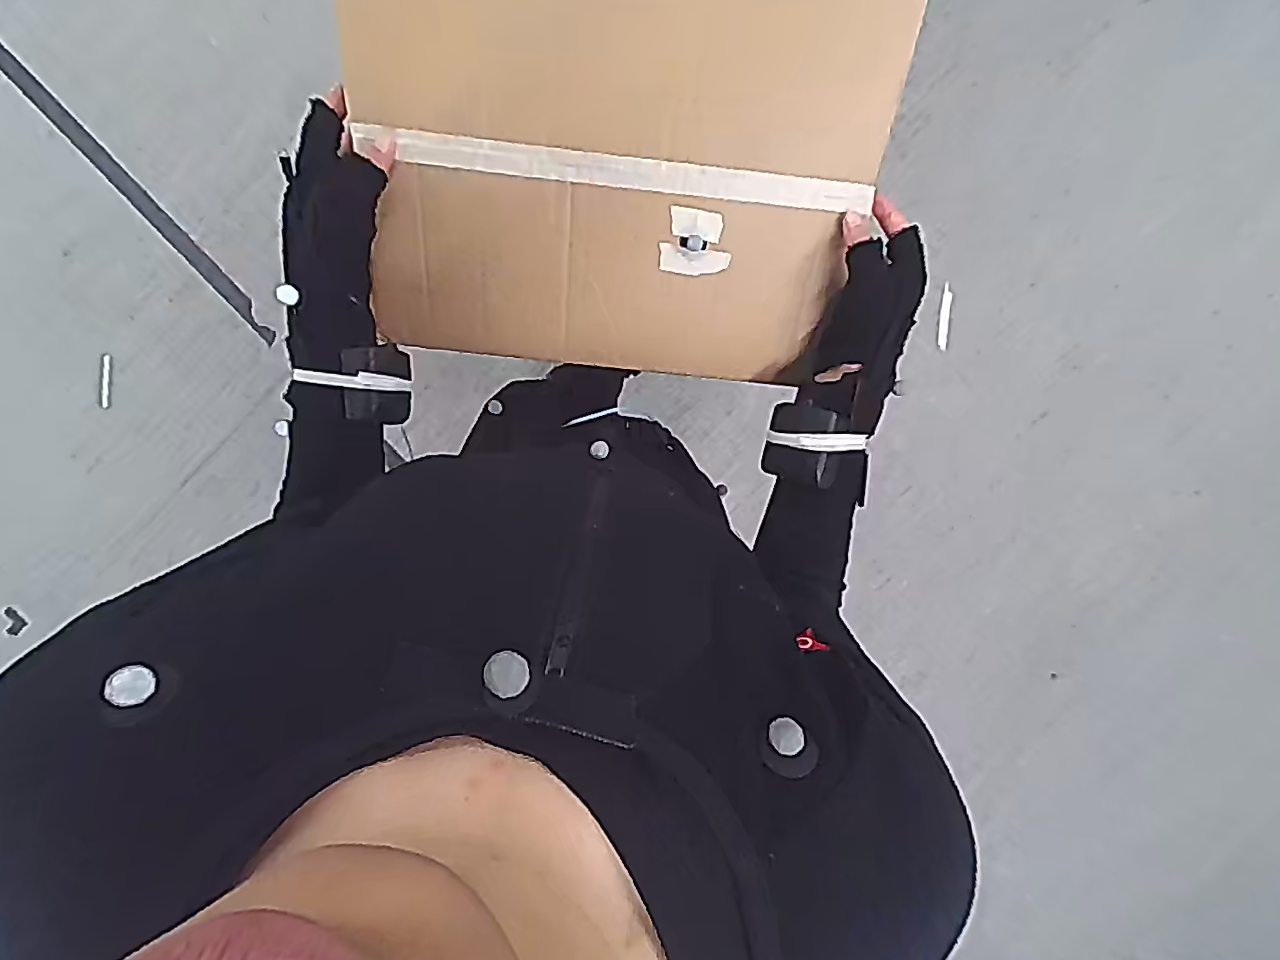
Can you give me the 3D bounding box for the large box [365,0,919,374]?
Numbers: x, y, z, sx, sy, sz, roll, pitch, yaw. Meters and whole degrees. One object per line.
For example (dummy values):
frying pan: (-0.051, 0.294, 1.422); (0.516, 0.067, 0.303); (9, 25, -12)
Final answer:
large box: (-0.012, -0.319, 0.566); (0.408, 0.320, 0.320); (5, 118, -4)
